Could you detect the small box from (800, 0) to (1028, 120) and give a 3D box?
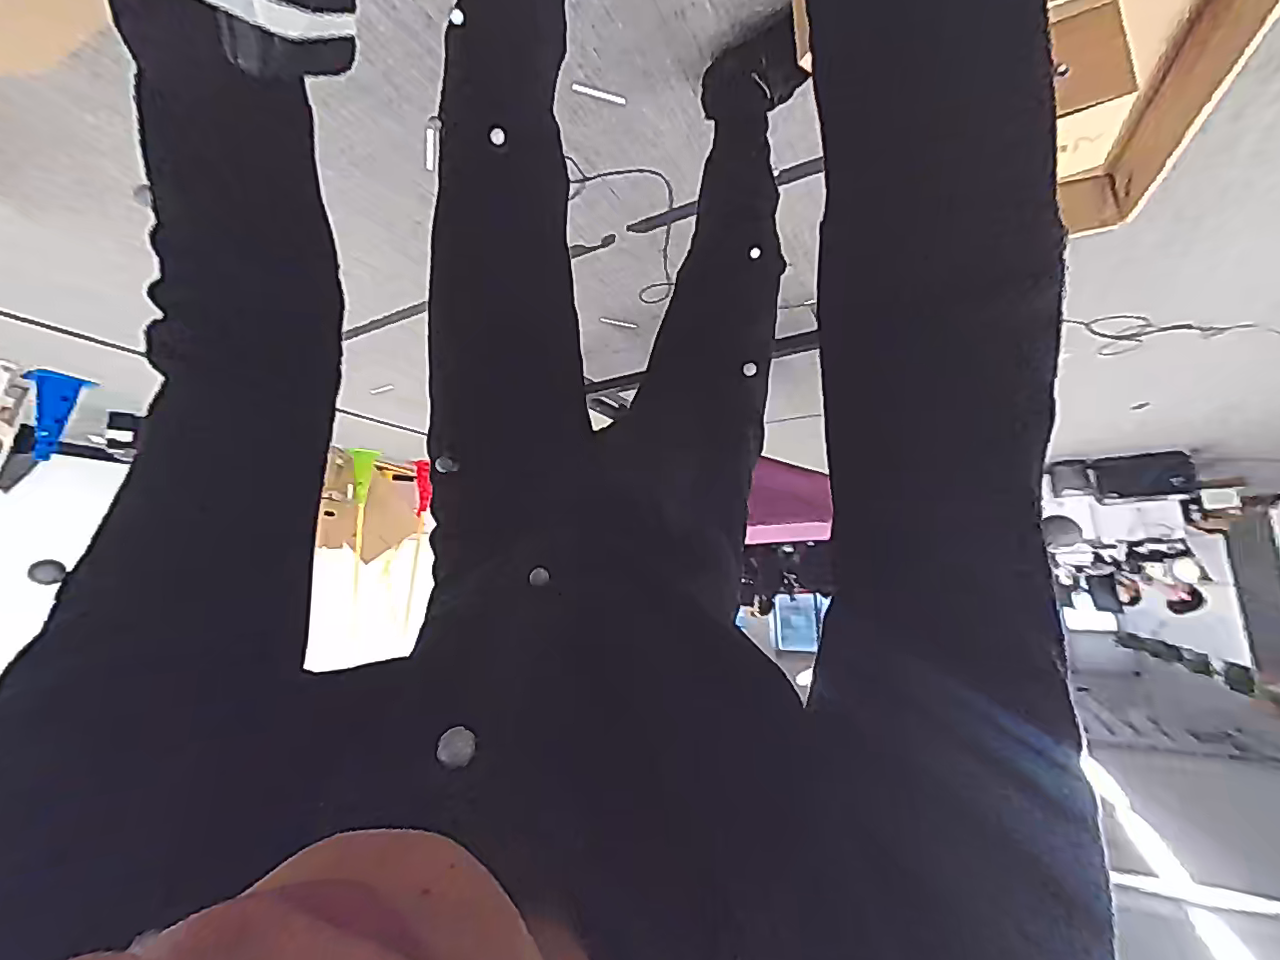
[{"bbox_3d":[0.299,-0.575,0.619,0.179,0.176,0.168,5,167,-28],"label":"small box"}]
